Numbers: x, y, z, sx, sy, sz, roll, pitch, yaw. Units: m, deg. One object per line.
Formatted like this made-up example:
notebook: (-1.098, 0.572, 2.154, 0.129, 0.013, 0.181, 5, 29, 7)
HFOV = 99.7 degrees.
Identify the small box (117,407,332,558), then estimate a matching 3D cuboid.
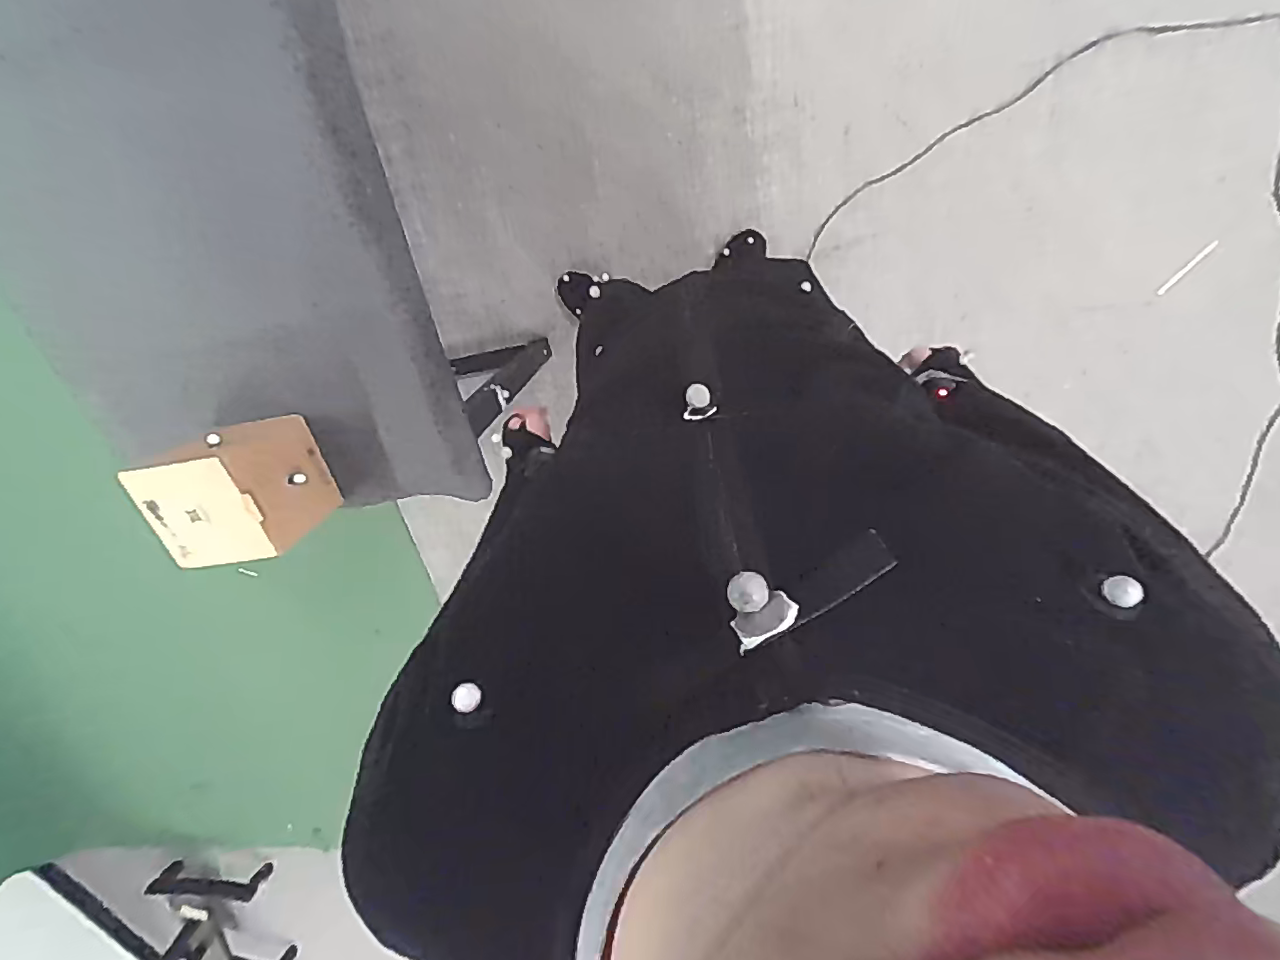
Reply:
small box: (-0.616, -0.003, 0.837, 0.179, 0.176, 0.168, -8, 116, 9)
